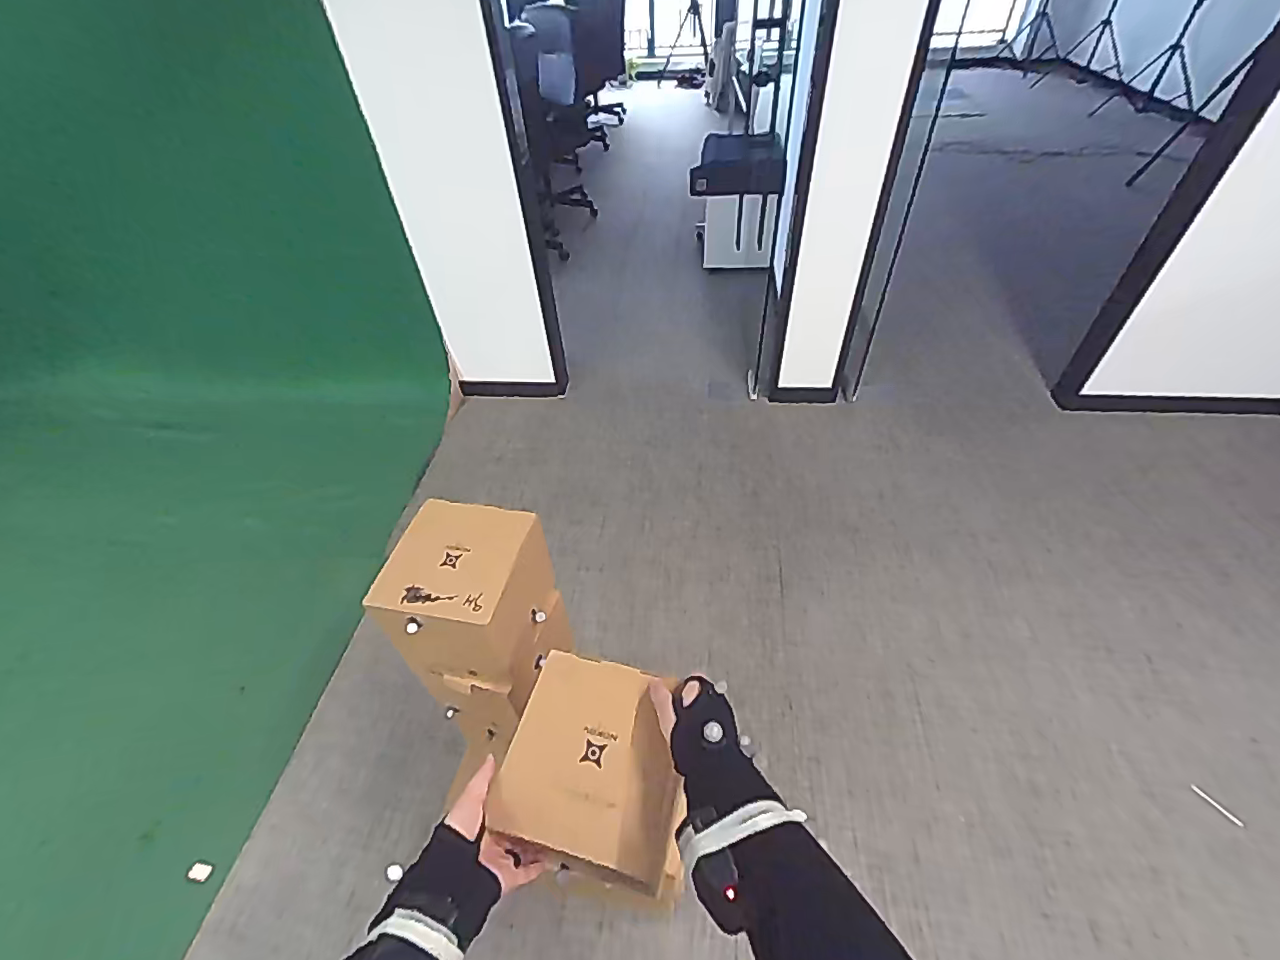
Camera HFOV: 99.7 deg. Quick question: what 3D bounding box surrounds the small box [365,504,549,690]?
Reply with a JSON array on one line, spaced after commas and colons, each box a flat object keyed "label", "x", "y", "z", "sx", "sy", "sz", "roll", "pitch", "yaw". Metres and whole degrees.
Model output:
[{"label": "small box", "x": -0.235, "y": 0.161, "z": 0.751, "sx": 0.168, "sy": 0.176, "sz": 0.179, "roll": 6, "pitch": 45, "yaw": 10}]

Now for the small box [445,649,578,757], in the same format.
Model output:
[{"label": "small box", "x": -0.214, "y": 0.400, "z": 0.978, "sx": 0.179, "sy": 0.176, "sz": 0.168, "roll": 11, "pitch": 48, "yaw": 13}]

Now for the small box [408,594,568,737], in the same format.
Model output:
[{"label": "small box", "x": -0.225, "y": 0.282, "z": 0.863, "sx": 0.168, "sy": 0.176, "sz": 0.179, "roll": 12, "pitch": 46, "yaw": 15}]

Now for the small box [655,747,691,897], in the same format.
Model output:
[{"label": "small box", "x": -0.009, "y": 0.523, "z": 0.842, "sx": 0.168, "sy": 0.176, "sz": 0.179, "roll": 5, "pitch": 46, "yaw": 8}]

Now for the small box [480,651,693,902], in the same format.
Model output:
[{"label": "small box", "x": -0.043, "y": 0.319, "z": 0.585, "sx": 0.168, "sy": 0.176, "sz": 0.179, "roll": 10, "pitch": 49, "yaw": 14}]
